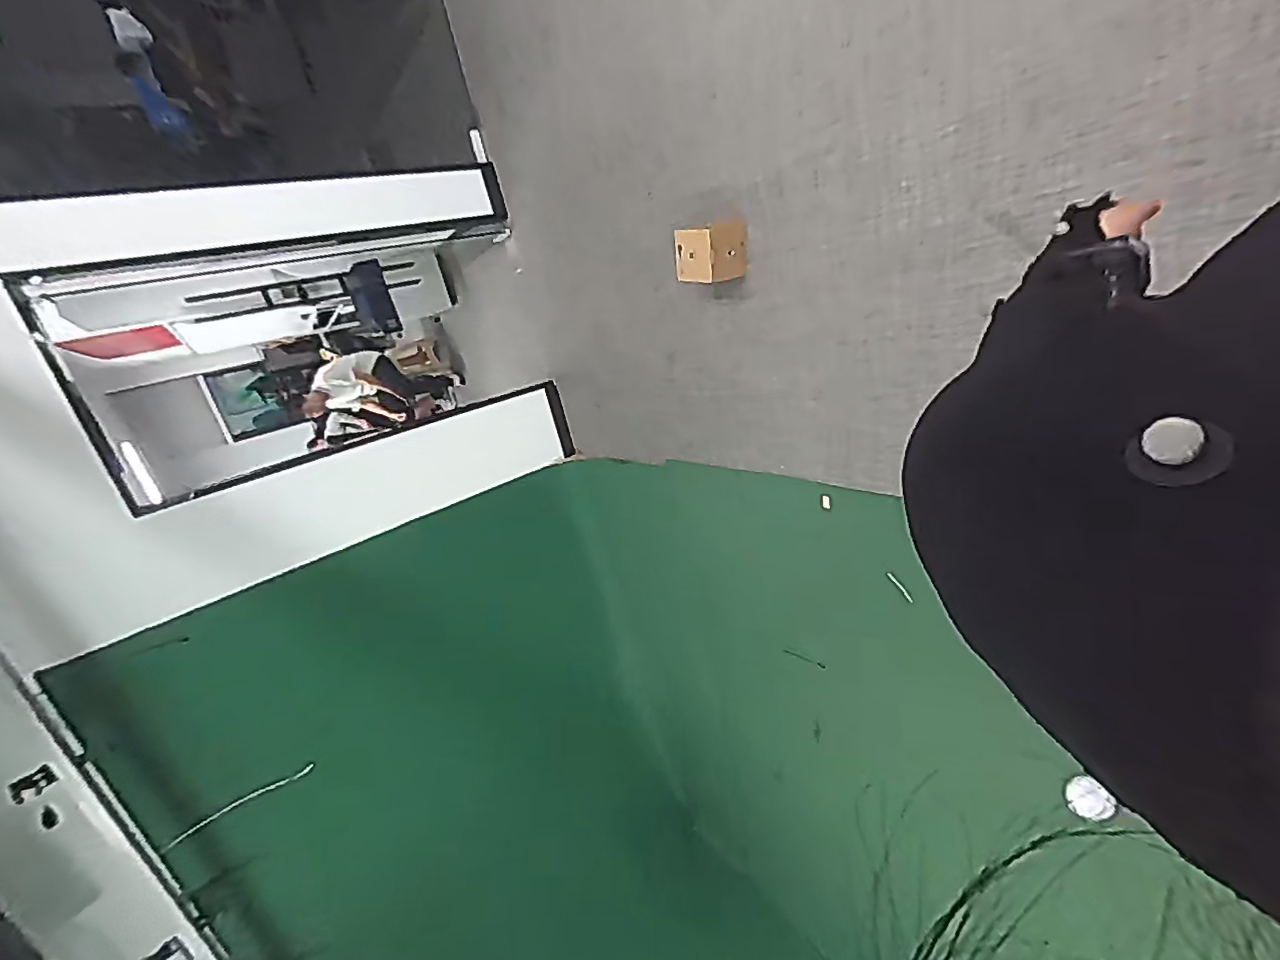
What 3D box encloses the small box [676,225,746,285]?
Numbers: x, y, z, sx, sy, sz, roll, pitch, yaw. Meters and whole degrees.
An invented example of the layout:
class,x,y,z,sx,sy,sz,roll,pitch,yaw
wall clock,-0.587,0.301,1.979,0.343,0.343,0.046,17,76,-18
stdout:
class,x,y,z,sx,sy,sz,roll,pitch,yaw
small box,0.247,-0.774,1.851,0.179,0.176,0.168,27,132,45
